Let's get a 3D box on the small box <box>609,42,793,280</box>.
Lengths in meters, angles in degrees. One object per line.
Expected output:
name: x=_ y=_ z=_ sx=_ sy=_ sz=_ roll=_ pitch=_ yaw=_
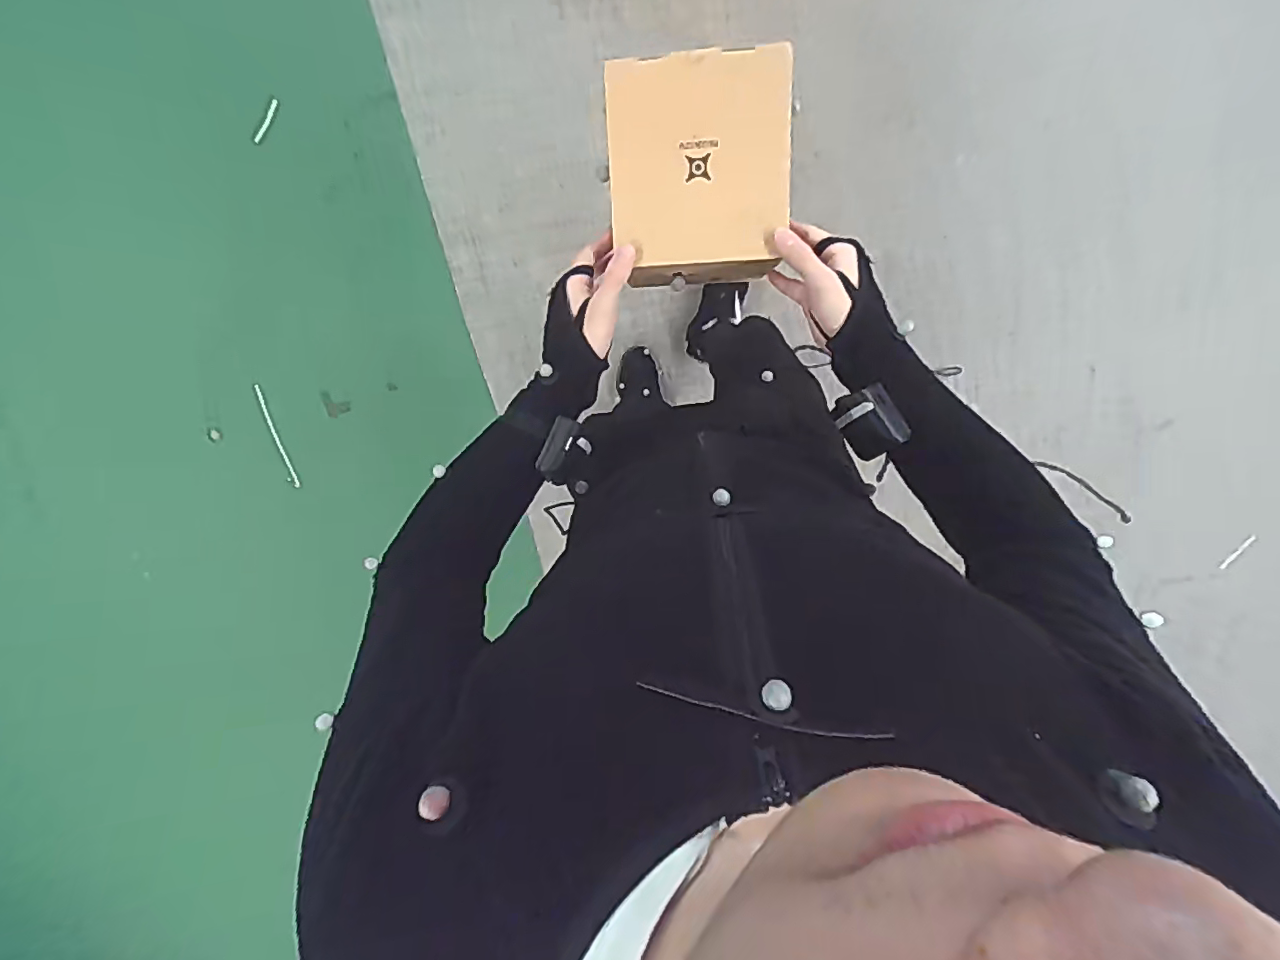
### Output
small box: x=0.063 y=-0.314 z=0.575 sx=0.168 sy=0.176 sz=0.179 roll=-2 pitch=102 yaw=5
